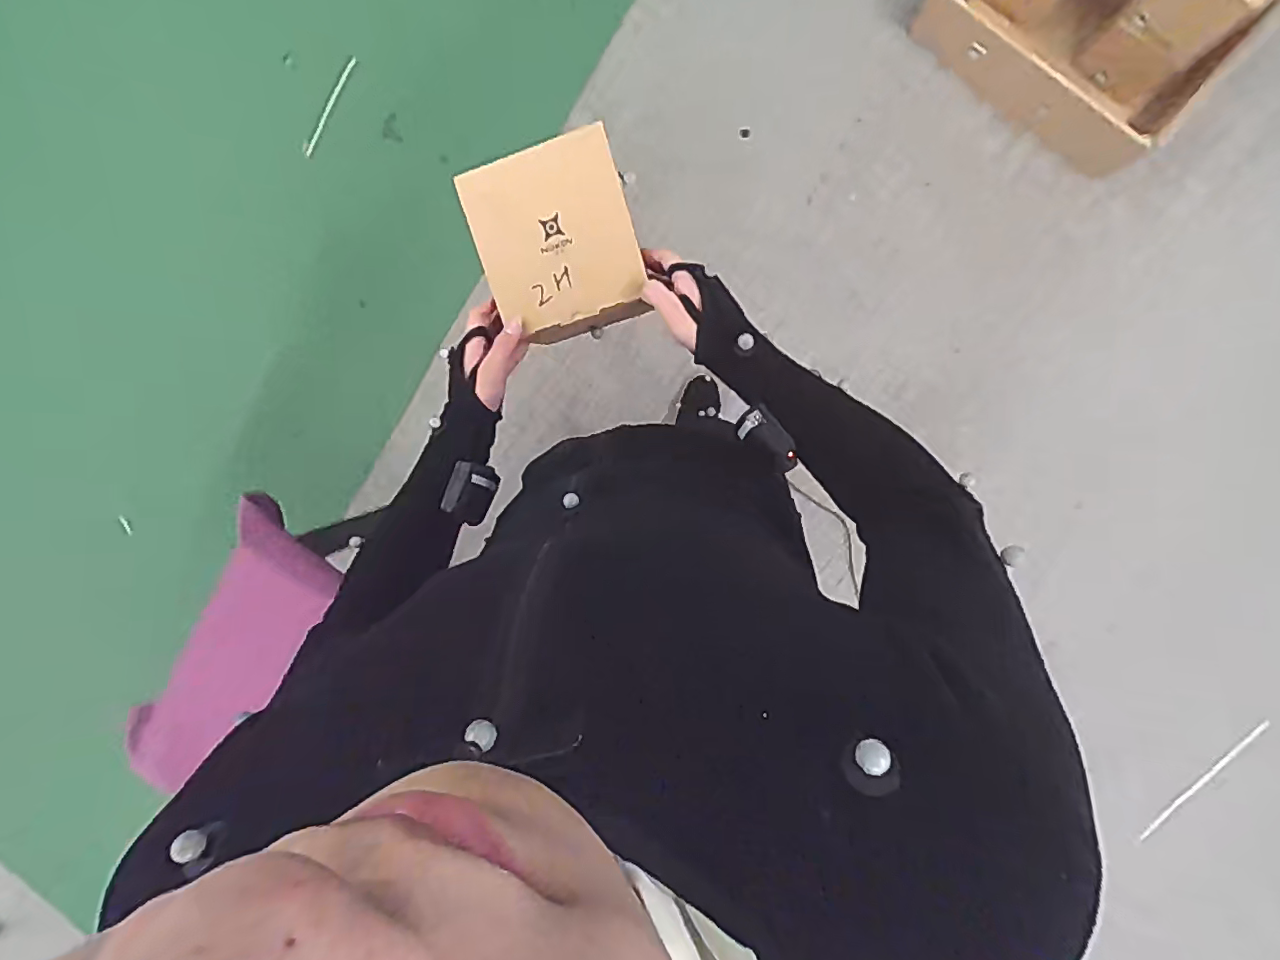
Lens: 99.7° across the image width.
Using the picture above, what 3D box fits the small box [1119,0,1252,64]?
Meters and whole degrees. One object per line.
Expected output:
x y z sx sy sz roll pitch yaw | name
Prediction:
1.072 -0.953 1.022 0.168 0.176 0.179 41 100 2 | small box

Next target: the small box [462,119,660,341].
-0.077 -0.270 0.631 0.168 0.176 0.179 -15 101 7 | small box
